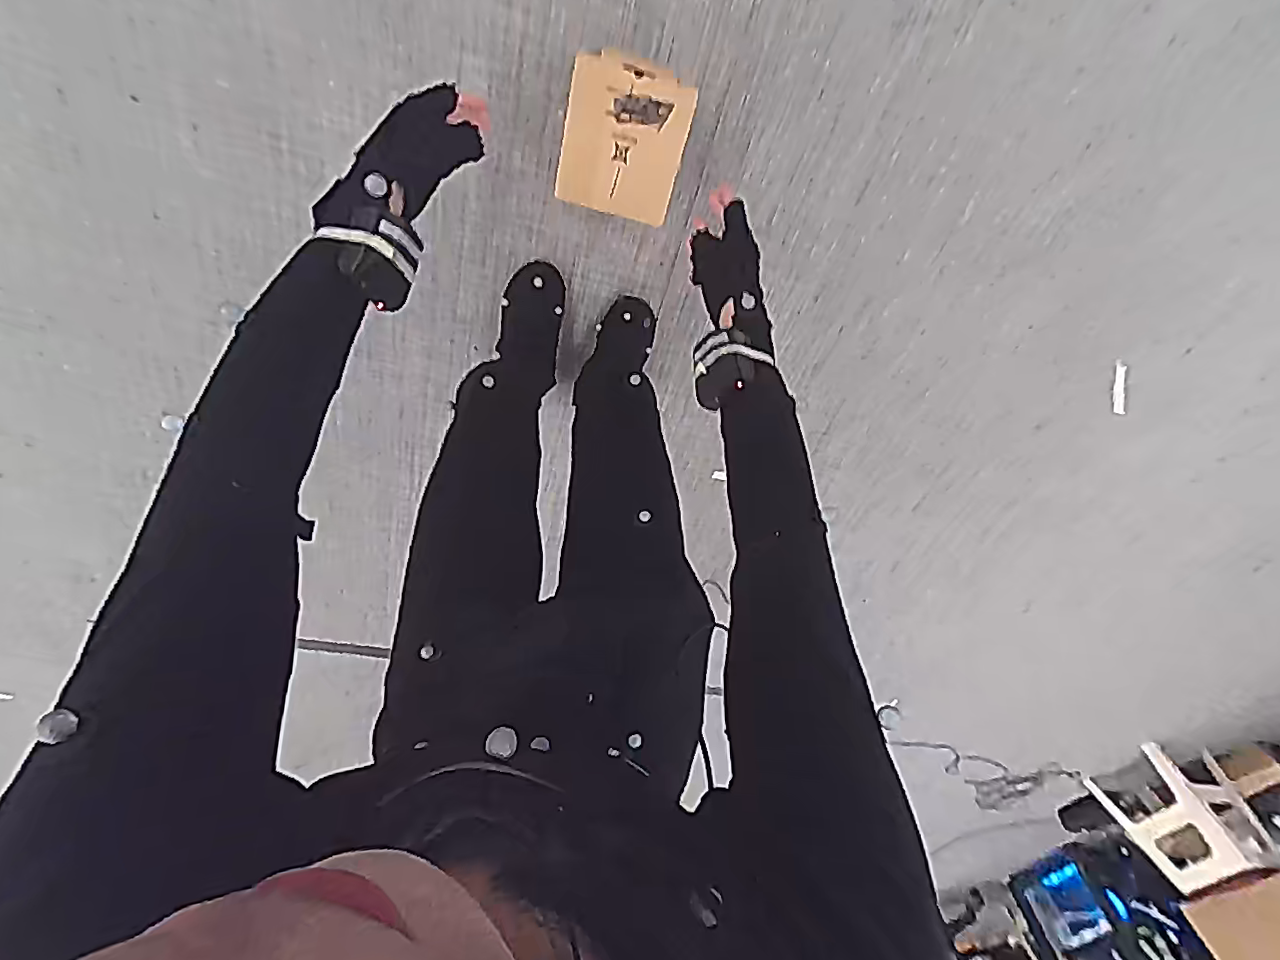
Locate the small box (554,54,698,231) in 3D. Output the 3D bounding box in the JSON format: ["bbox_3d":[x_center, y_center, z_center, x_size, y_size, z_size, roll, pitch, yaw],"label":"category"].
[{"bbox_3d":[-0.029,-0.502,0.808,0.168,0.176,0.179,10,126,-12],"label":"small box"}]
